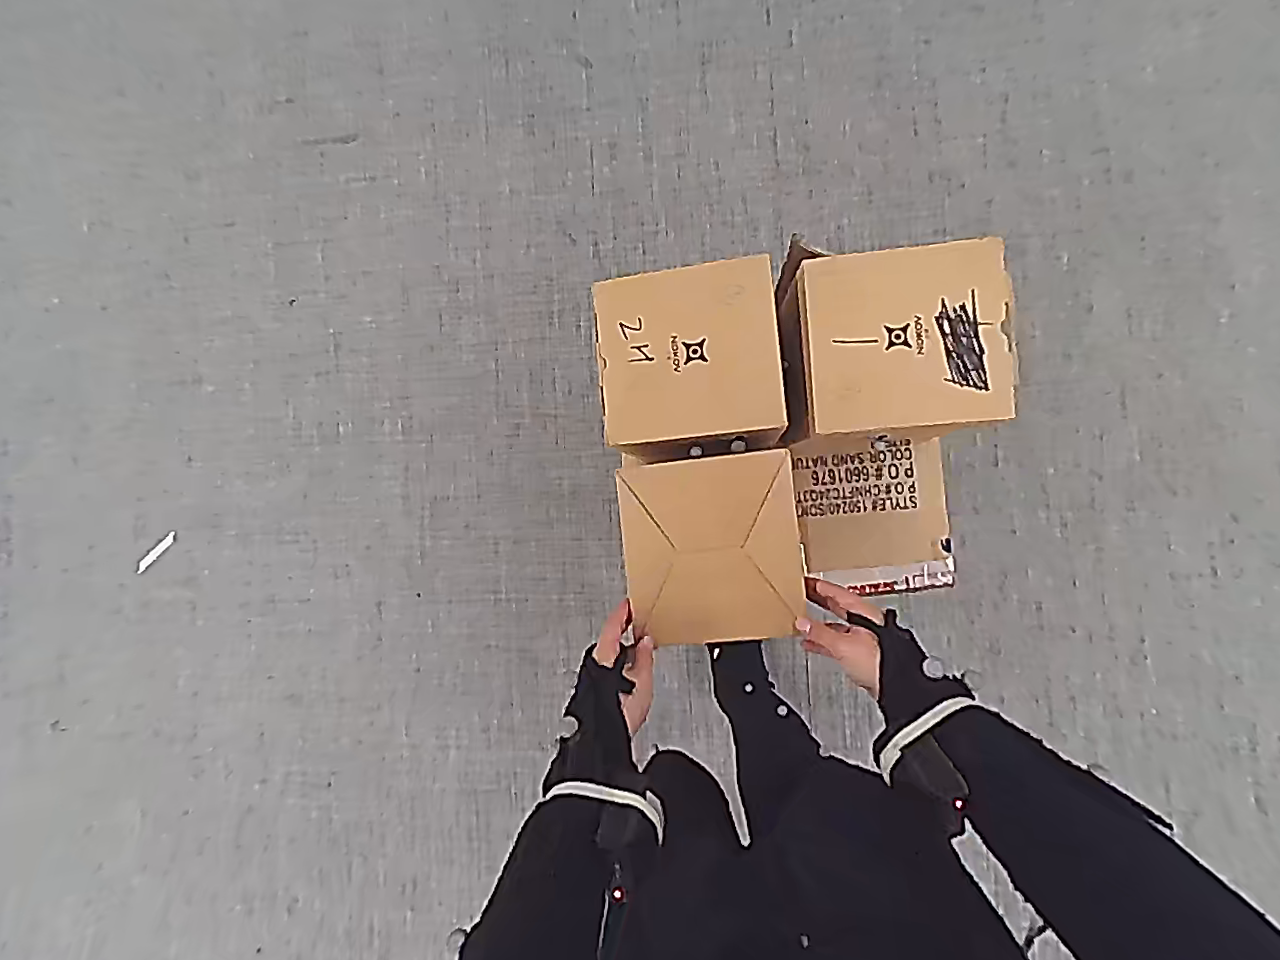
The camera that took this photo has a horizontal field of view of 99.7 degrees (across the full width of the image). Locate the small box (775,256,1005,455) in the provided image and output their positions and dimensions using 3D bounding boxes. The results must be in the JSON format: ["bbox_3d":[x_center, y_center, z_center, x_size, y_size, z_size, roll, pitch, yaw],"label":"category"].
[{"bbox_3d":[0.248,-0.118,0.578,0.179,0.176,0.168,-4,88,7],"label":"small box"}]
